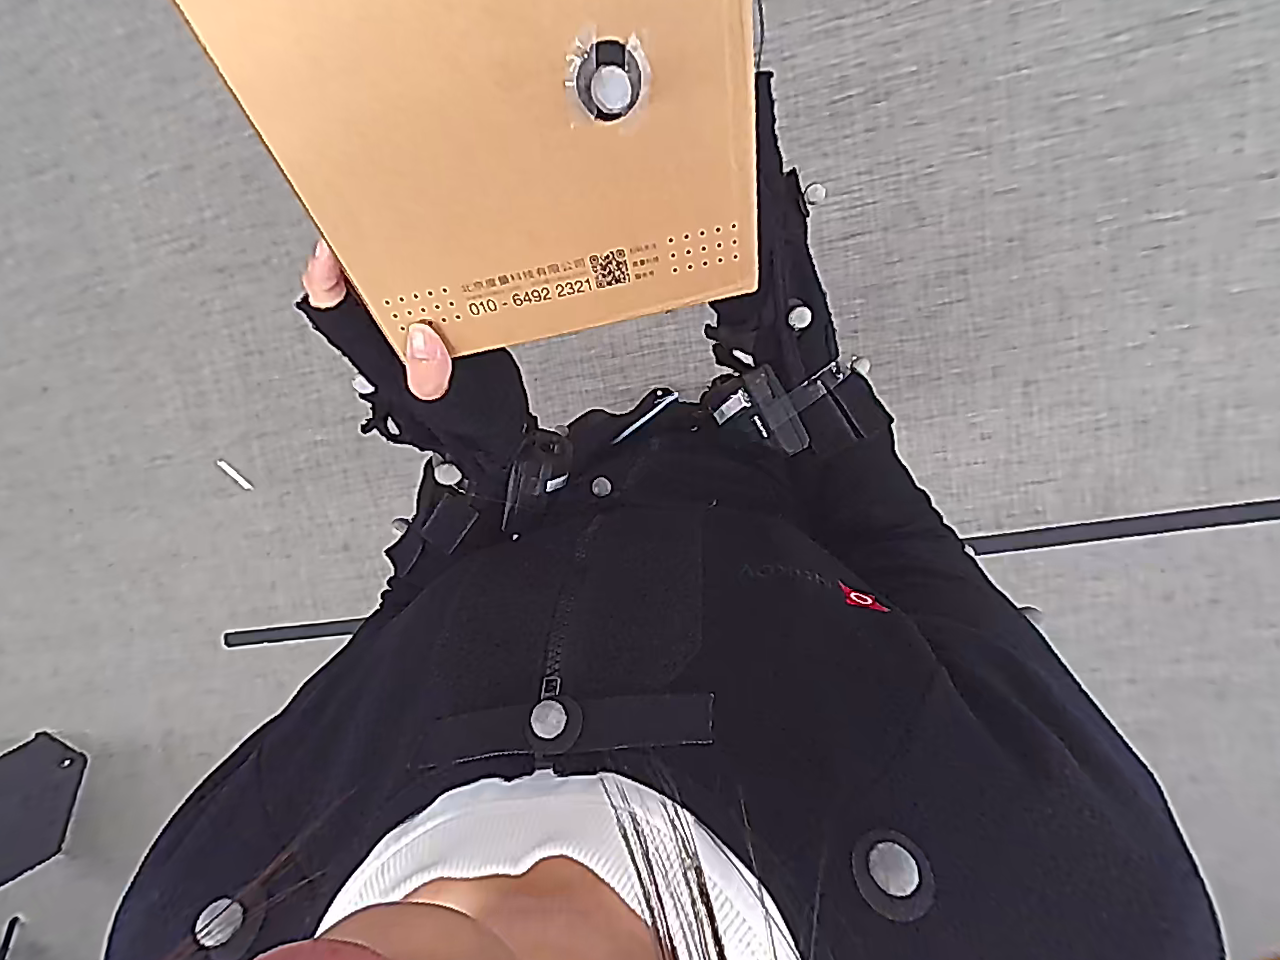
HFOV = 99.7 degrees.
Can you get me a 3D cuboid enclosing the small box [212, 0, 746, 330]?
[{"bbox_3d":[-0.047,-0.189,0.259,0.168,0.179,0.176,-10,138,5],"label":"small box"}]
